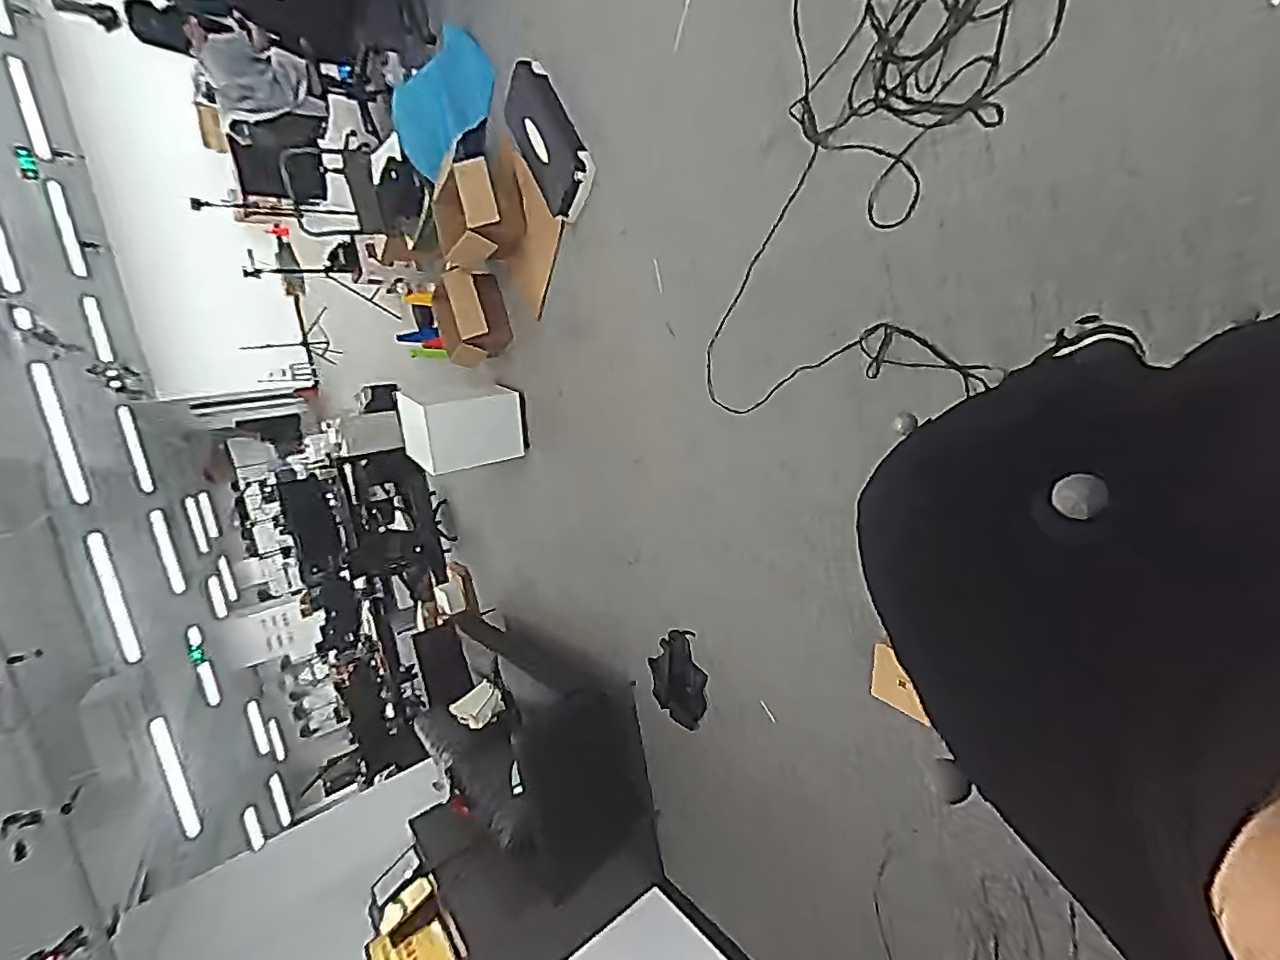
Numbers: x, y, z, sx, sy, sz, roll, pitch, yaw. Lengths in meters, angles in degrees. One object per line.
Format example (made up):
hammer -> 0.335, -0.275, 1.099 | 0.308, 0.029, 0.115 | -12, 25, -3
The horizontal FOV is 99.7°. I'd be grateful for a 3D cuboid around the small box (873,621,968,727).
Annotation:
small box -> 0.752, 0.512, 1.452 | 0.168, 0.176, 0.179 | 19, 118, 51
